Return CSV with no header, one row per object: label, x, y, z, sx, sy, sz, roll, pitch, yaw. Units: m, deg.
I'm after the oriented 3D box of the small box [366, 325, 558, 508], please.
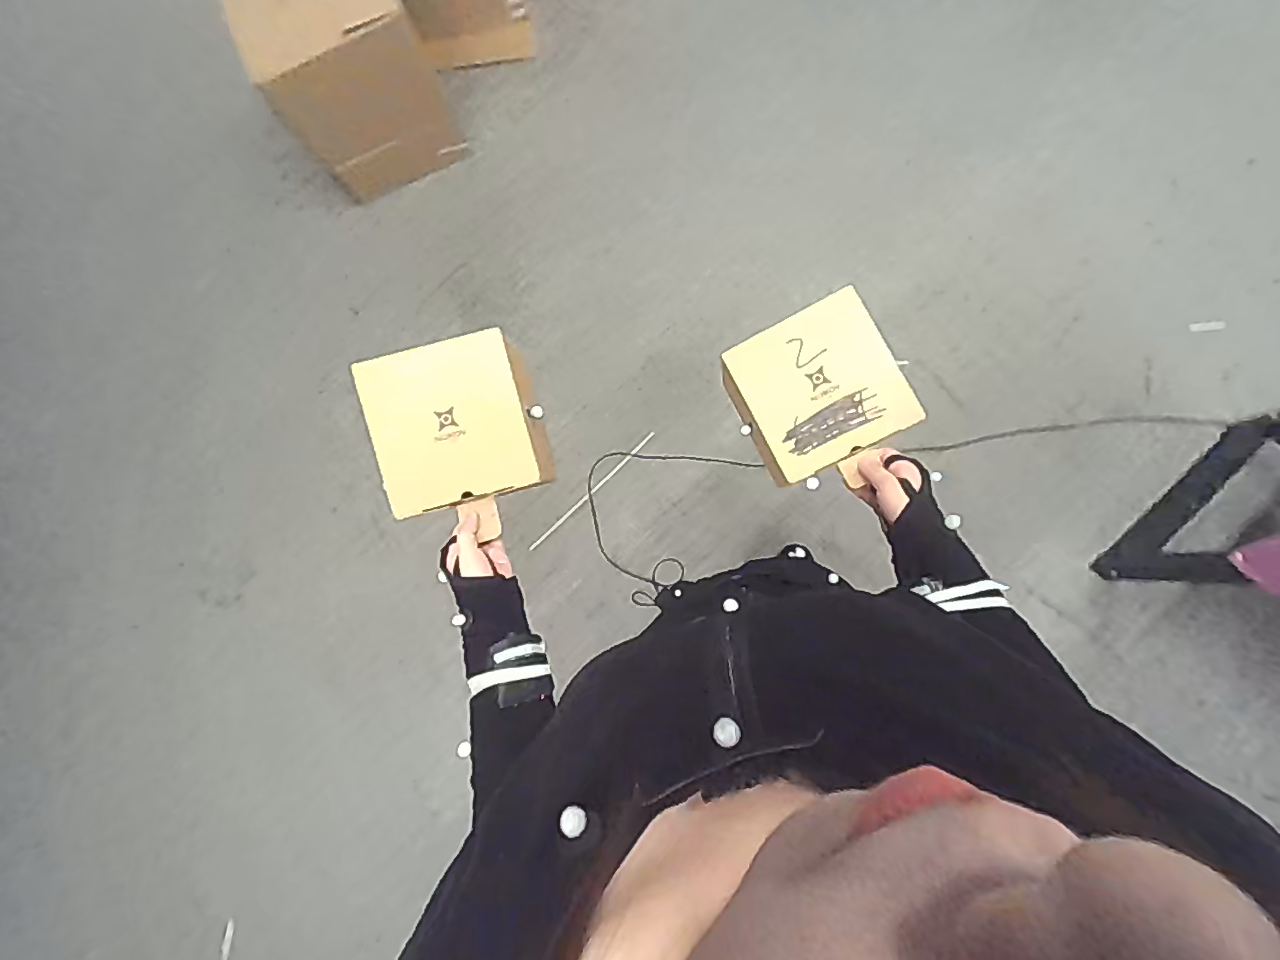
small box,-0.205,-0.072,0.671,0.168,0.176,0.179,-13,93,-2
